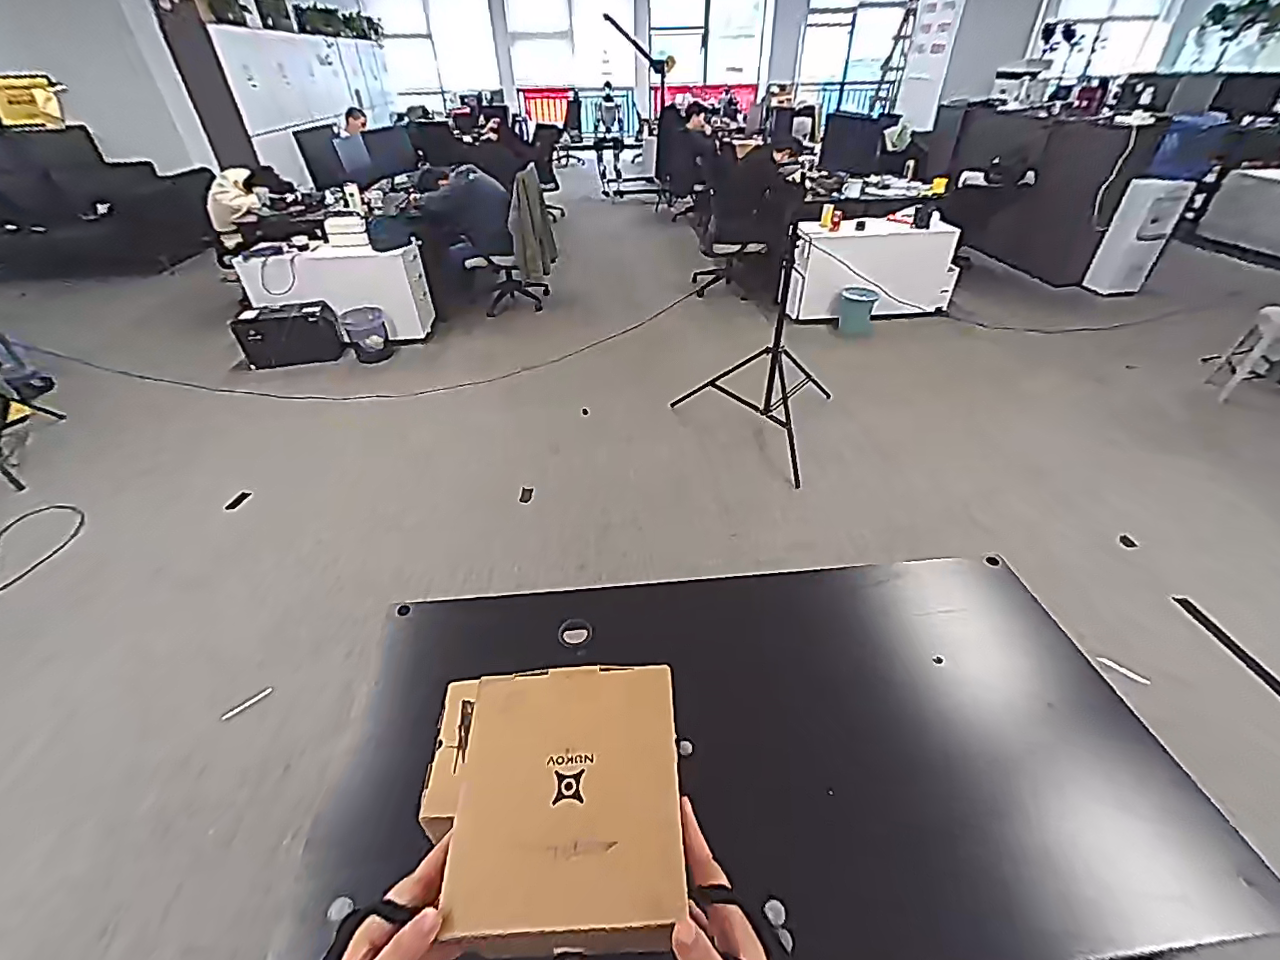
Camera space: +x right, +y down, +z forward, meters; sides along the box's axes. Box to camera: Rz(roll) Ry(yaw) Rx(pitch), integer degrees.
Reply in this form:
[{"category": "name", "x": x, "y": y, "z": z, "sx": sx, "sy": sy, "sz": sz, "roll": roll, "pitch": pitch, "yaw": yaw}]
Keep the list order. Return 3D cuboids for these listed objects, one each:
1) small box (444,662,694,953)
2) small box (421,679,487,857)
[{"category": "small box", "x": -0.045, "y": 0.279, "z": 0.464, "sx": 0.168, "sy": 0.176, "sz": 0.179, "roll": -4, "pitch": 45, "yaw": 1}, {"category": "small box", "x": -0.157, "y": 0.376, "z": 0.700, "sx": 0.179, "sy": 0.176, "sz": 0.168, "roll": -3, "pitch": 38, "yaw": -3}]
